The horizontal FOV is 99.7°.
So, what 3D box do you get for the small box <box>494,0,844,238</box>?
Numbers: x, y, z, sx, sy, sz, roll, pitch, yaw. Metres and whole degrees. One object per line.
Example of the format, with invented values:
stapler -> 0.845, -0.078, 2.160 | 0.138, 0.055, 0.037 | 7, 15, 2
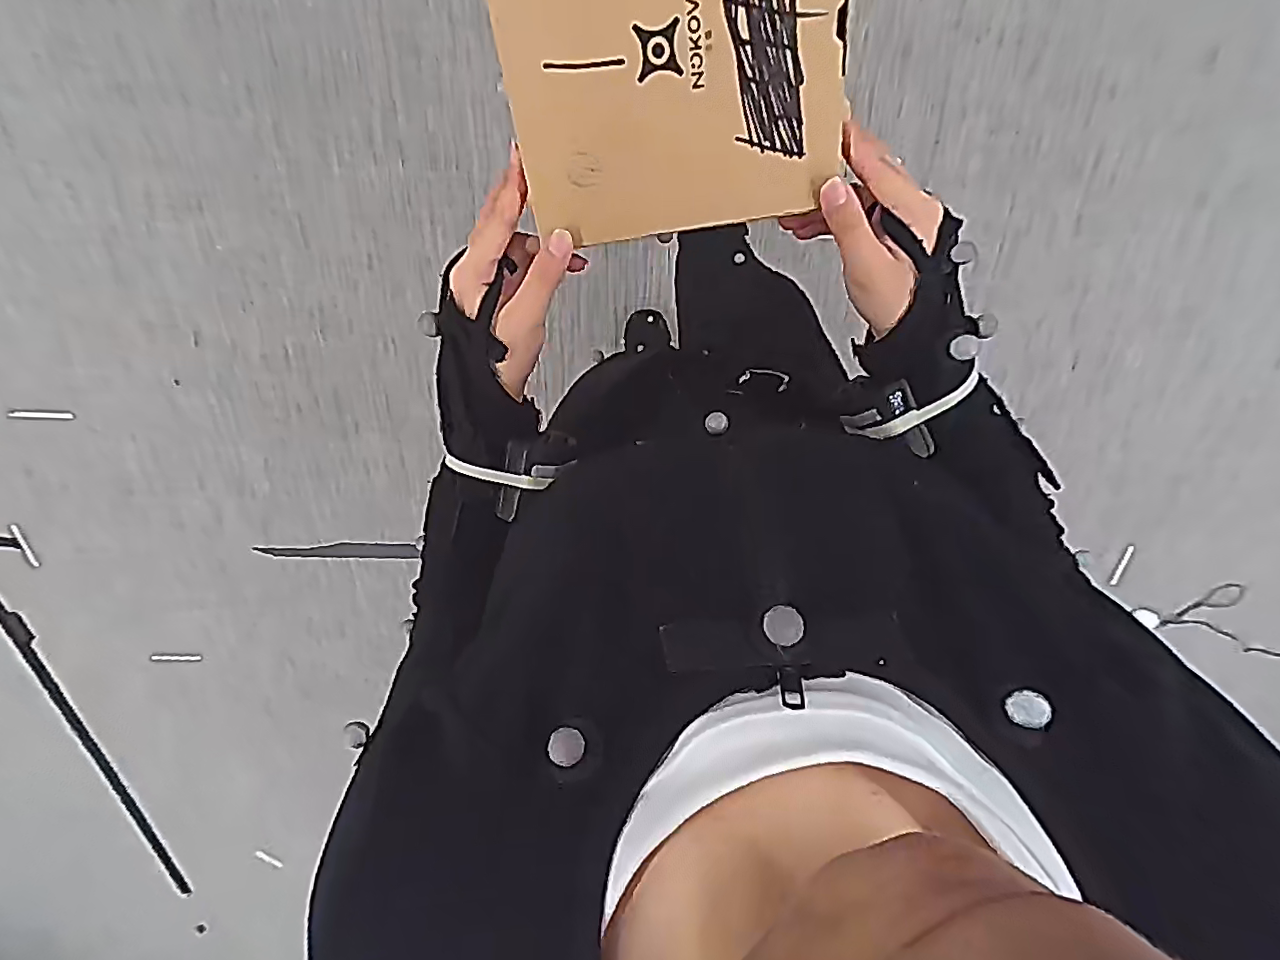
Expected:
small box -> 0.013, -0.265, 0.343 | 0.179, 0.176, 0.168 | -8, 122, 2
